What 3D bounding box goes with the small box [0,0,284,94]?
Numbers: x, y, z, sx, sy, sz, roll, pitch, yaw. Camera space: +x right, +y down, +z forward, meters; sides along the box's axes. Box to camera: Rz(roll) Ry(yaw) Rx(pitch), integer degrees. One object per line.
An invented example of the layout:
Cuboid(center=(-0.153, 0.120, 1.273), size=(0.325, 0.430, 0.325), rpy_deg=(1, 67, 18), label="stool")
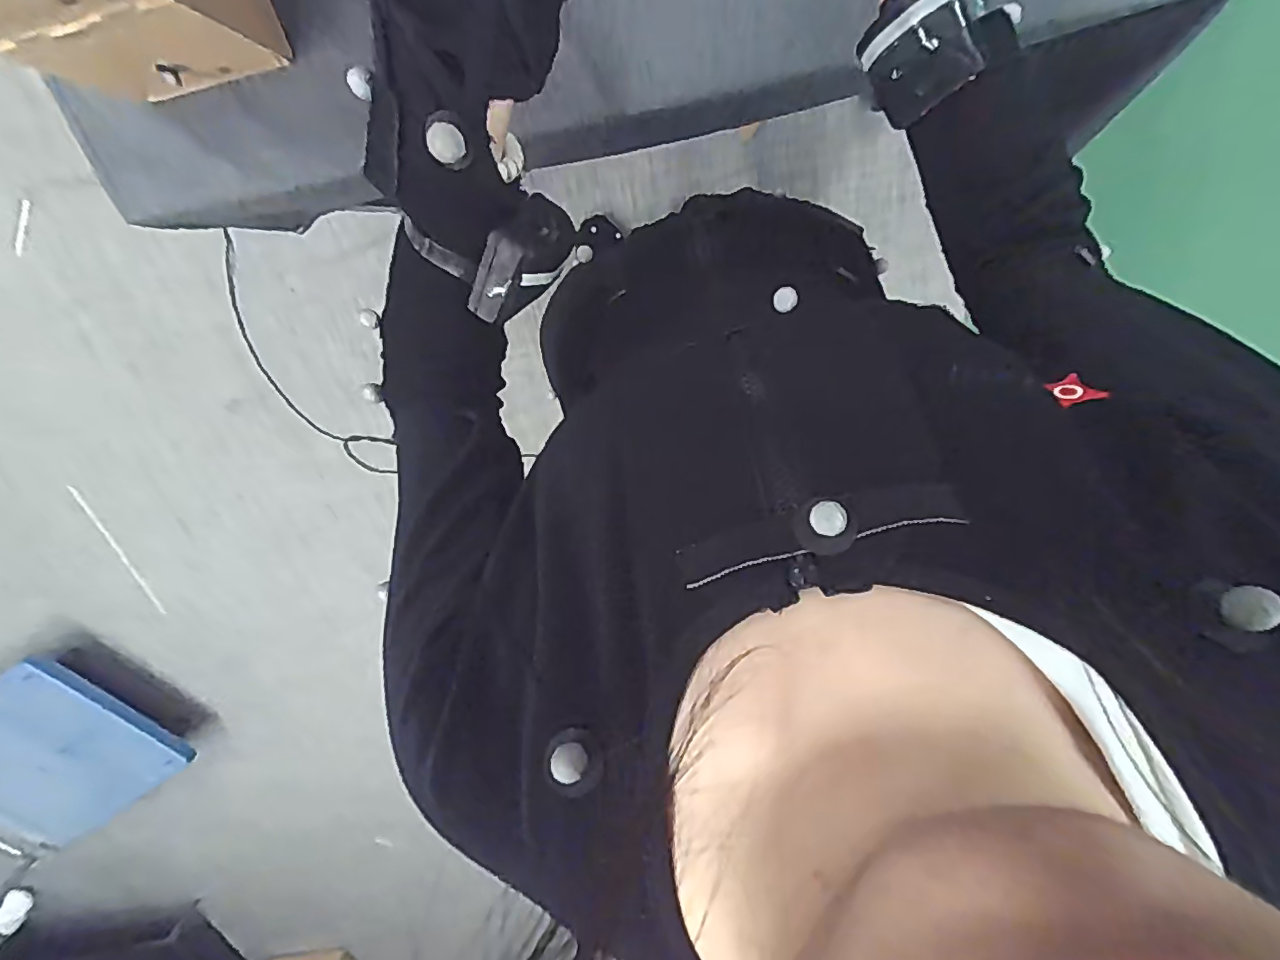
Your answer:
Cuboid(center=(-0.450, -0.456, 0.446), size=(0.168, 0.176, 0.179), rpy_deg=(-12, 115, 4), label="small box")
